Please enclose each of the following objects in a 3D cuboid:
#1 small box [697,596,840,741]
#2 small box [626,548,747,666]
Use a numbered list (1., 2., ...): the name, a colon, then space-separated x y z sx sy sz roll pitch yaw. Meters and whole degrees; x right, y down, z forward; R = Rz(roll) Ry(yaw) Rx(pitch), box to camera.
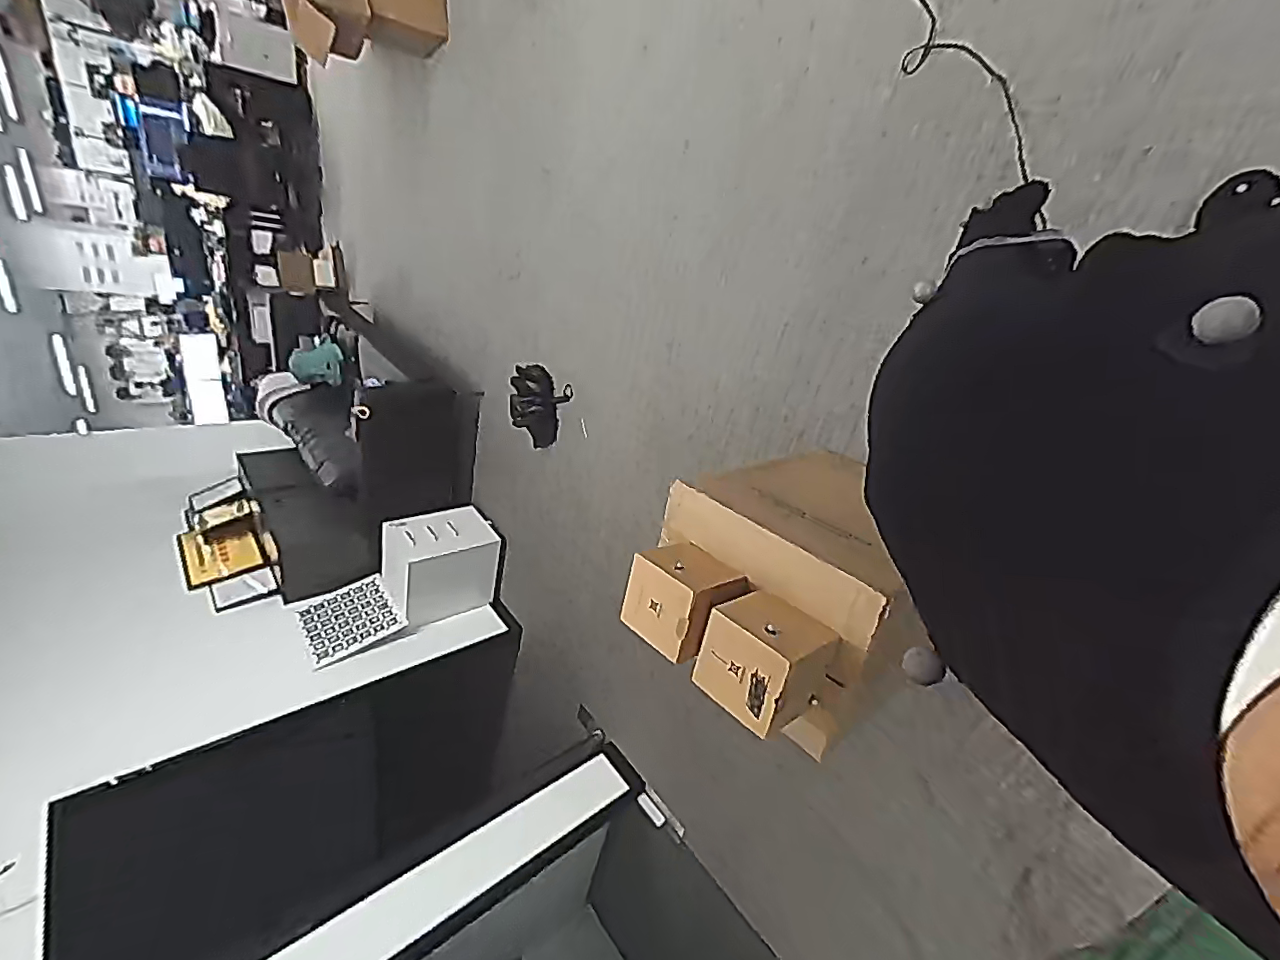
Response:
1. small box: 0.239 0.335 1.003 0.179 0.176 0.168 29 114 42
2. small box: 0.100 0.257 1.146 0.179 0.176 0.168 28 112 43
